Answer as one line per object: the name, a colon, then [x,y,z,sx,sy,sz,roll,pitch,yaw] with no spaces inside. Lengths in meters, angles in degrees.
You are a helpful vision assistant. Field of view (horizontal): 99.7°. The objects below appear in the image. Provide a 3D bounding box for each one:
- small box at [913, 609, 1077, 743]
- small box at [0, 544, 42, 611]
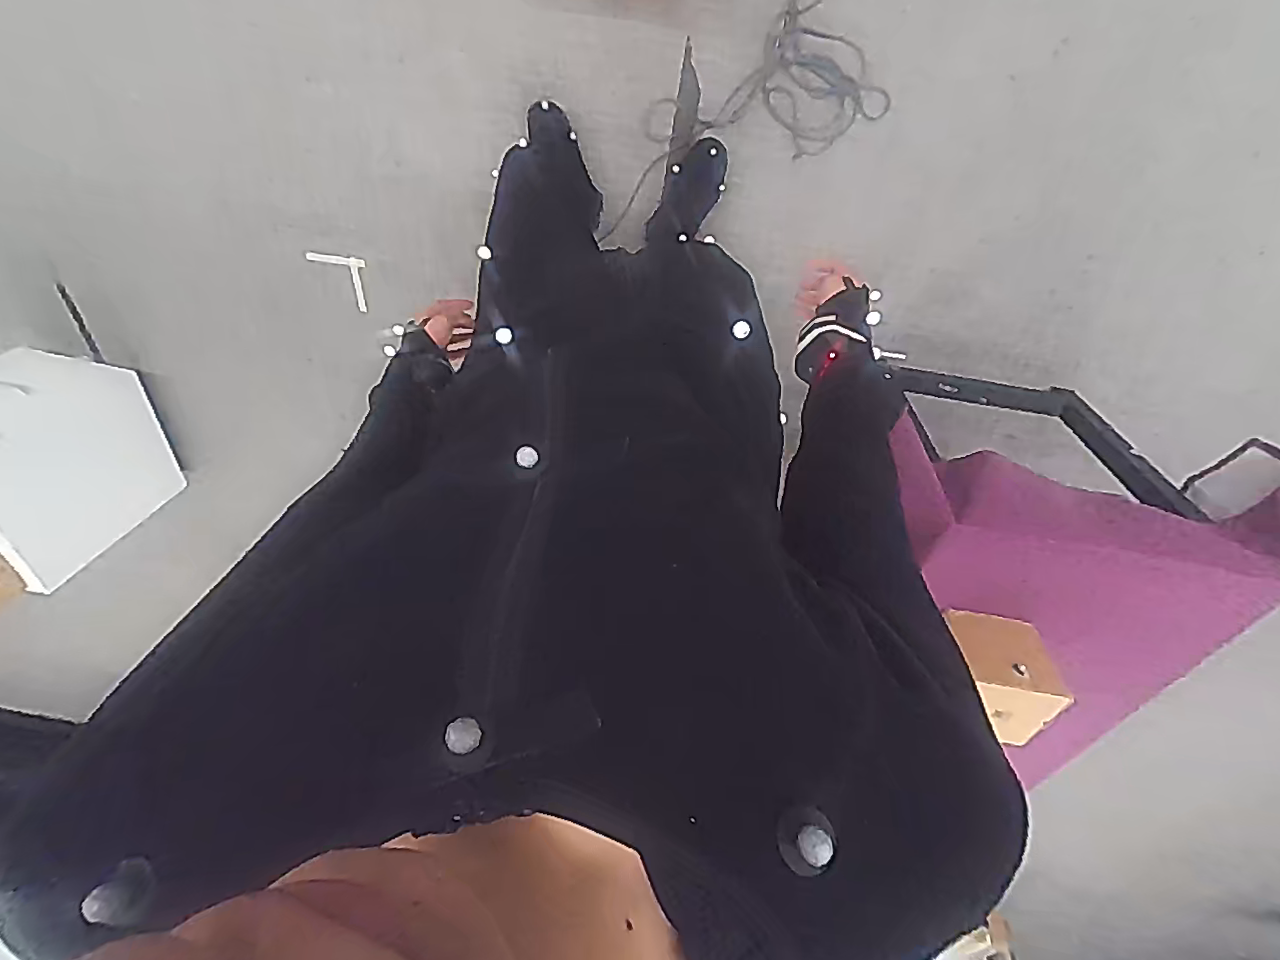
small box: [0.661,0.369,1.034,0.179,0.176,0.168,11,128,1]
small box: [-1.948,0.290,1.583,0.179,0.176,0.168,11,129,1]
